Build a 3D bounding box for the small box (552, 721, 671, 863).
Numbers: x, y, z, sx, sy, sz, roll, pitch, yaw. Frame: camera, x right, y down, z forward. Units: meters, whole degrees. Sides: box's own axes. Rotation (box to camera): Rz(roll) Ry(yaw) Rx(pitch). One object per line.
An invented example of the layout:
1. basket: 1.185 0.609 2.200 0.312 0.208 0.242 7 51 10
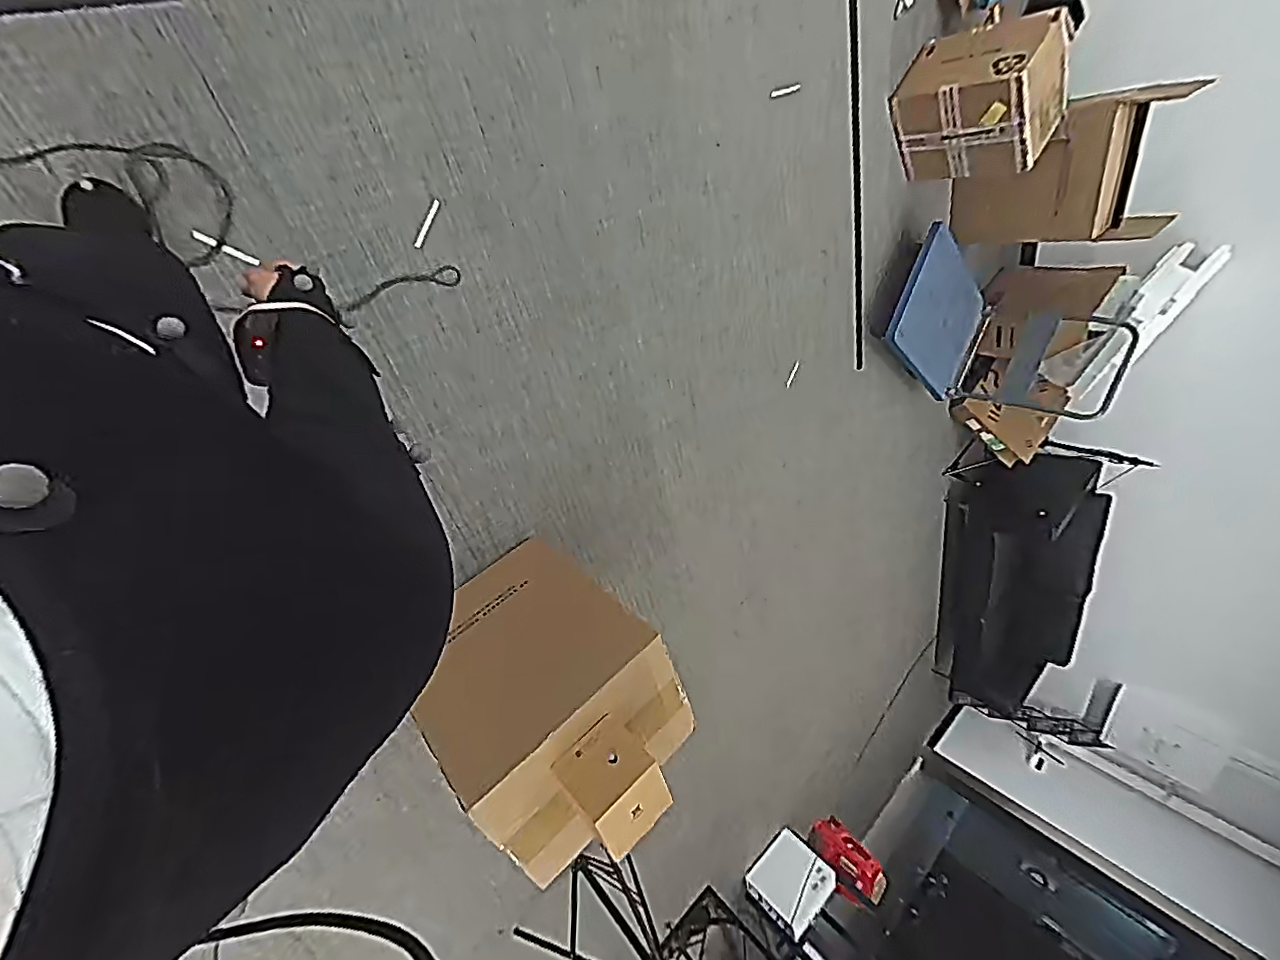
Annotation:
1. small box: -0.062 0.651 1.151 0.168 0.176 0.179 -35 128 -28
